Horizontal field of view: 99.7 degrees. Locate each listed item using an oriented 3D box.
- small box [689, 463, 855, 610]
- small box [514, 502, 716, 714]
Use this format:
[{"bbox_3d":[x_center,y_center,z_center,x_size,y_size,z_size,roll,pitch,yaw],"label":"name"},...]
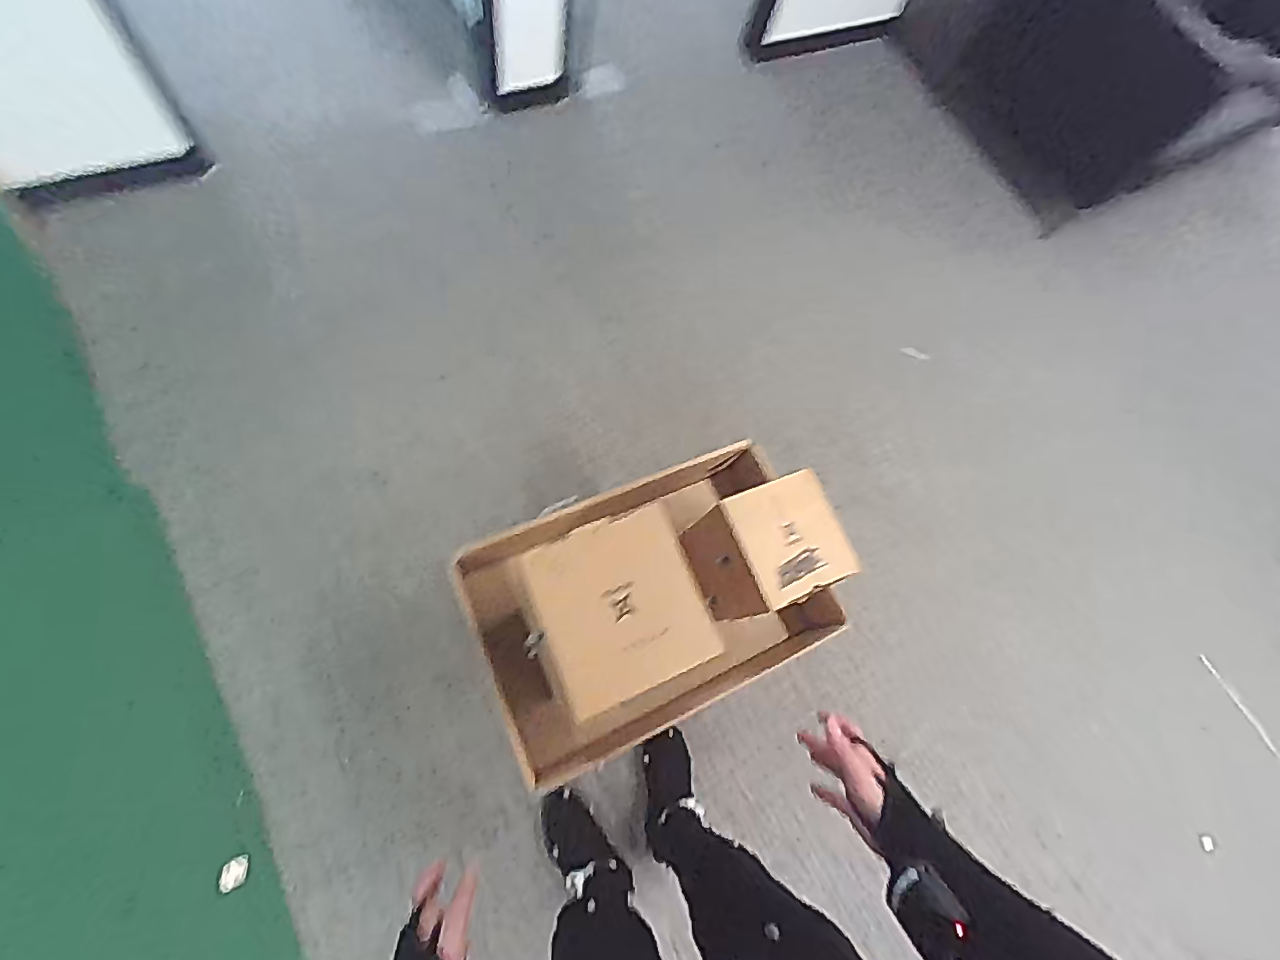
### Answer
[{"bbox_3d":[0.201,0.100,0.875,0.168,0.176,0.179,-20,76,-18],"label":"small box"},{"bbox_3d":[-0.040,0.151,0.631,0.168,0.176,0.179,-20,75,-16],"label":"small box"}]
